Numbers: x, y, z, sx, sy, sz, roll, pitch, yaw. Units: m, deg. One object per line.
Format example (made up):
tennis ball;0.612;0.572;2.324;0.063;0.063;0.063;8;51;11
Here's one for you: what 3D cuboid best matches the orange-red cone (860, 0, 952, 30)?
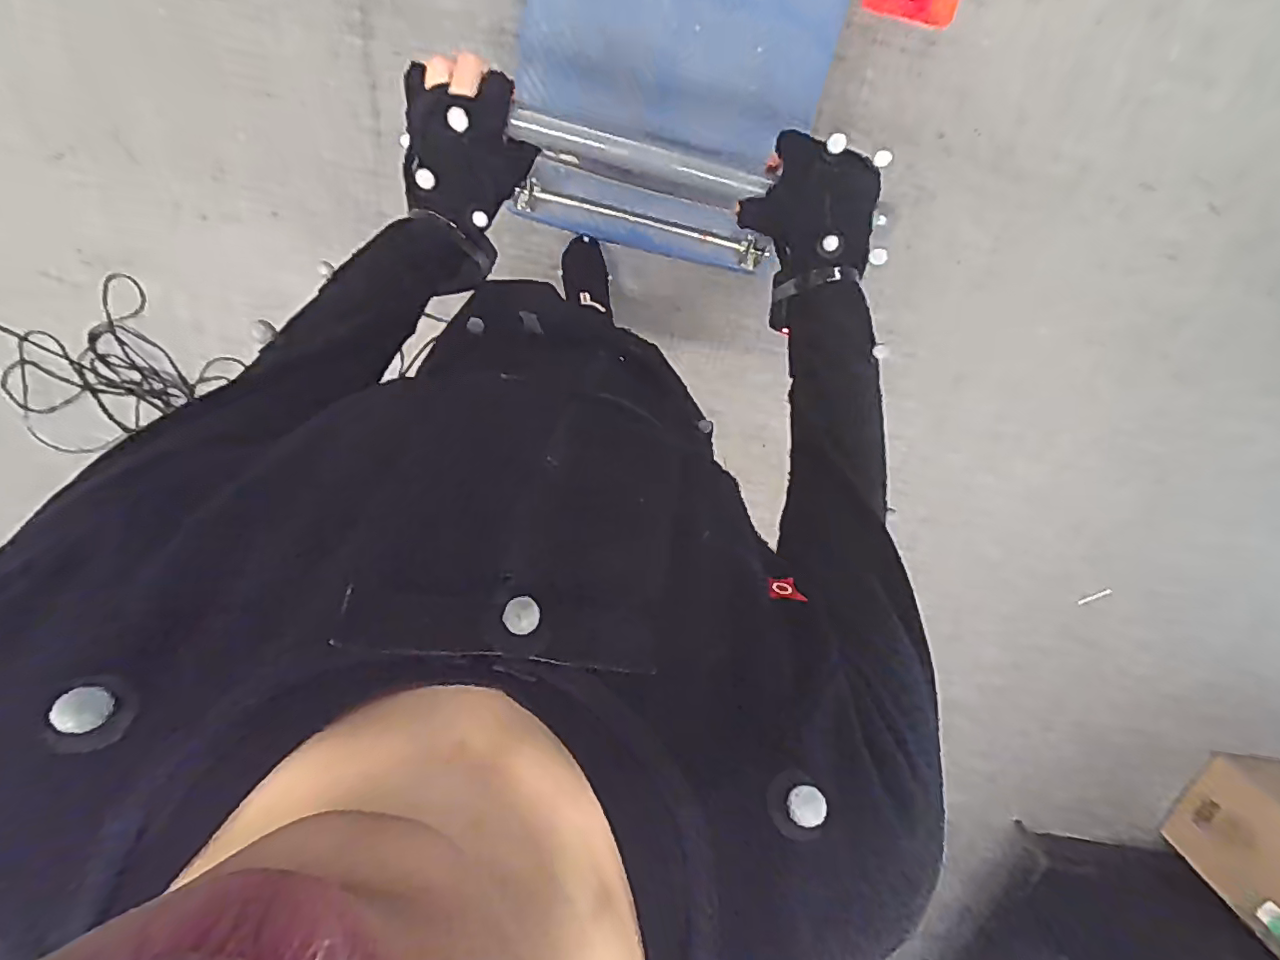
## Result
orange-red cone;0.570;-1.005;0.958;0.199;0.360;0.198;11;110;-3
